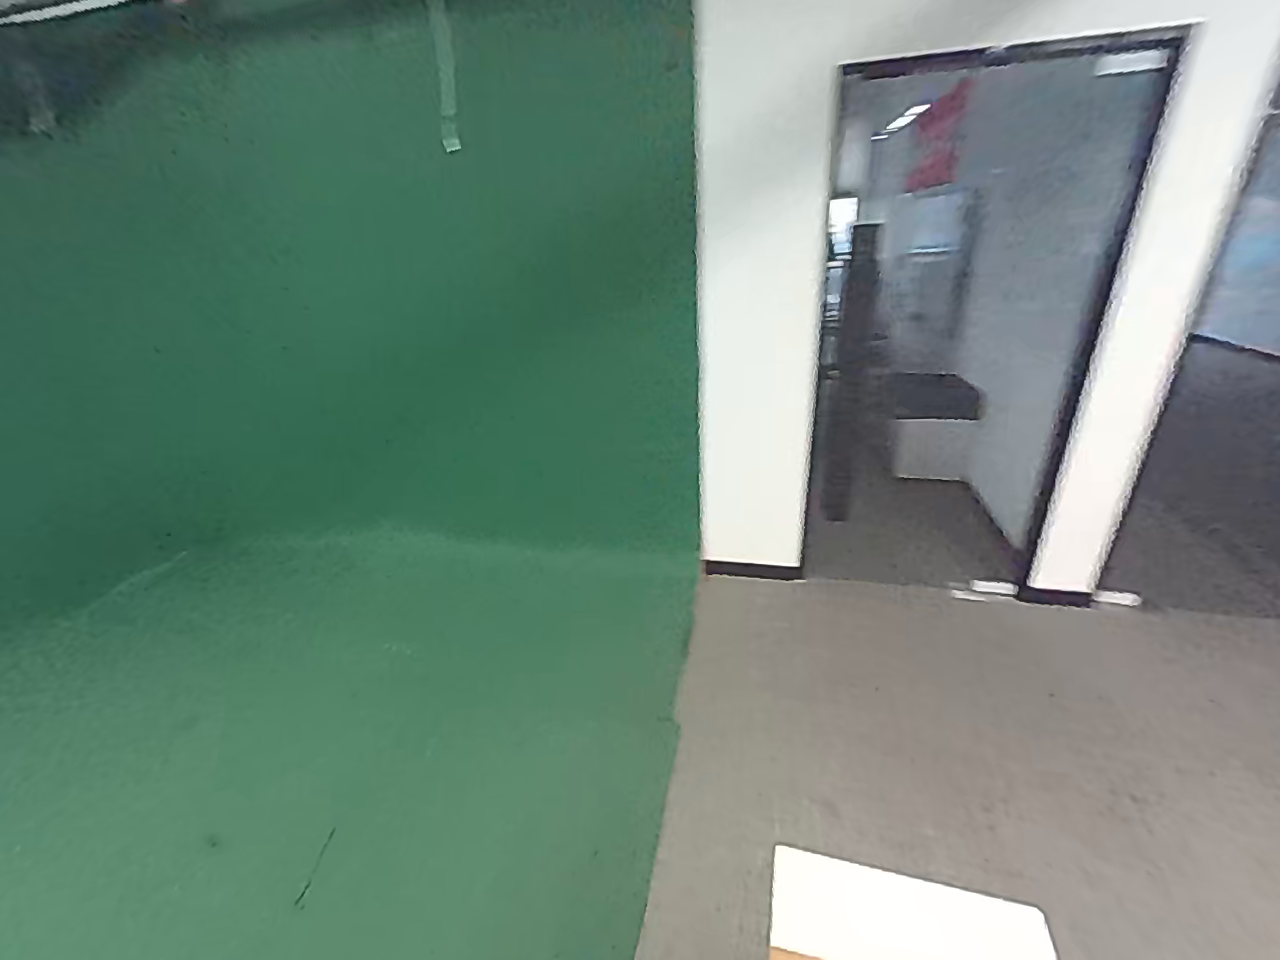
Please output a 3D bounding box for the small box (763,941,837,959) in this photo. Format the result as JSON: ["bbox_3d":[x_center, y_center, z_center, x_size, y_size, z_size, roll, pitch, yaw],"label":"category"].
[{"bbox_3d":[0.223,0.690,0.619,0.179,0.176,0.168,5,26,16],"label":"small box"}]
